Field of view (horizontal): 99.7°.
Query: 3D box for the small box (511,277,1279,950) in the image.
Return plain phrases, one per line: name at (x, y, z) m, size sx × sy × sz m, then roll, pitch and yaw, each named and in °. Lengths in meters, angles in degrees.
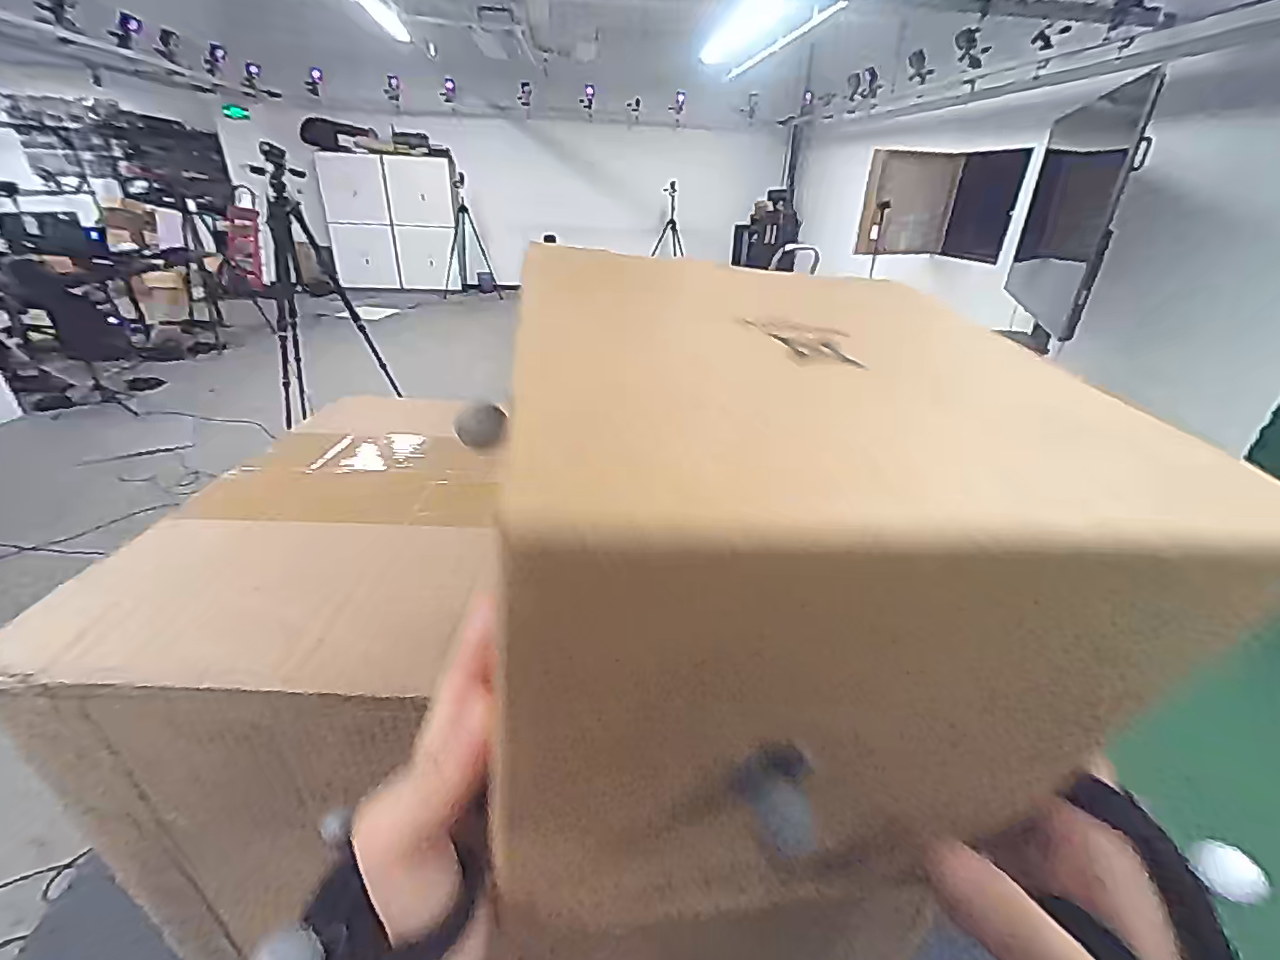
small box at (0.042, 0.040, 0.201) m, size 0.168 × 0.176 × 0.179 m, roll 1°, pitch 36°, yaw -11°
